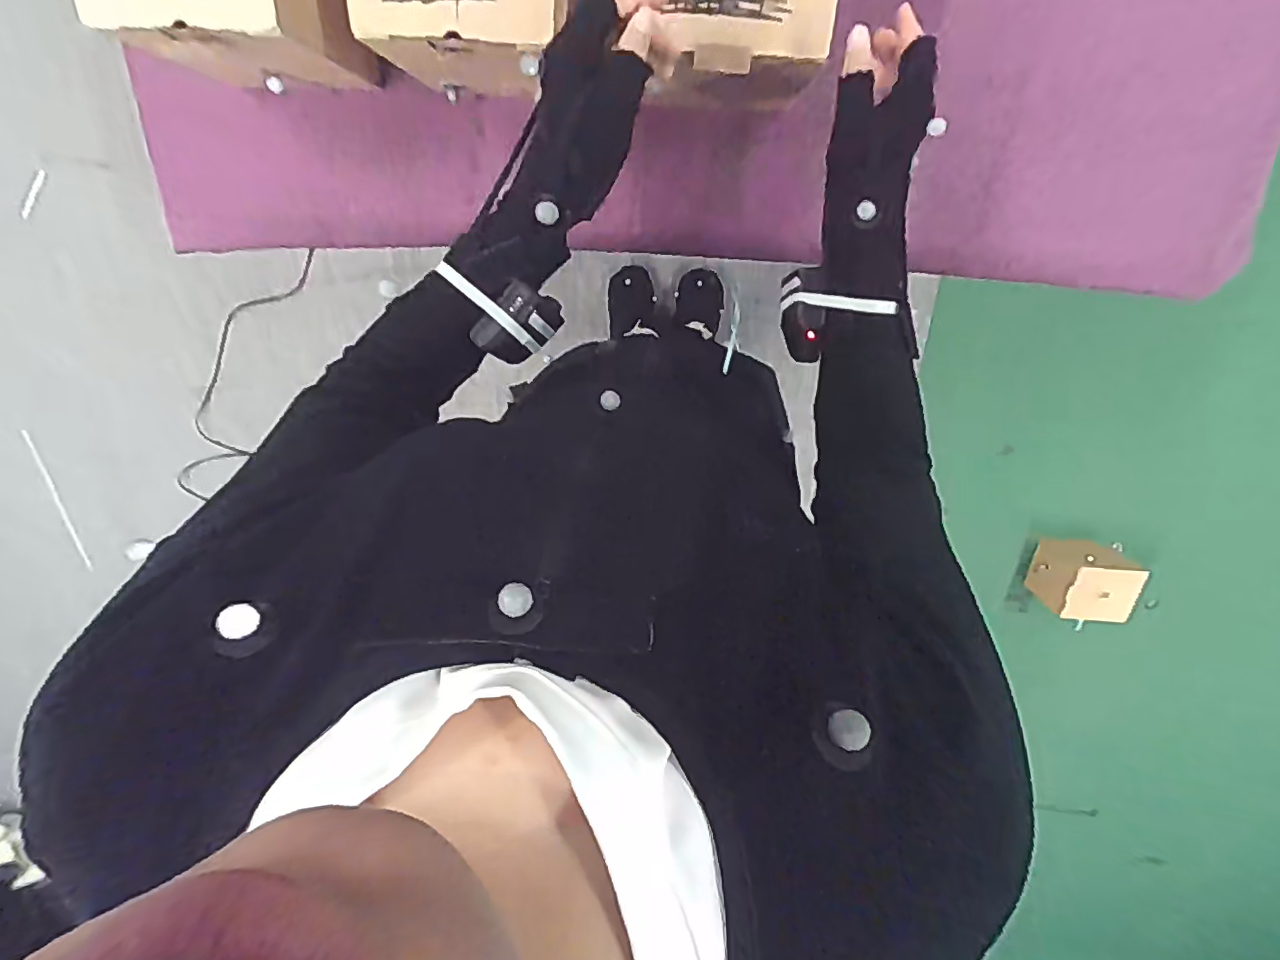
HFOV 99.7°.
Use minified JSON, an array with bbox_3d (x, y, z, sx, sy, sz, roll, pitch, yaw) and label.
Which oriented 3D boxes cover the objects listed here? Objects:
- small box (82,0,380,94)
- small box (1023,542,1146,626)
[{"bbox_3d":[-0.358,-0.473,0.480,0.168,0.176,0.179,4,113,2],"label":"small box"},{"bbox_3d":[1.225,0.284,1.506,0.179,0.176,0.168,3,113,2],"label":"small box"}]
